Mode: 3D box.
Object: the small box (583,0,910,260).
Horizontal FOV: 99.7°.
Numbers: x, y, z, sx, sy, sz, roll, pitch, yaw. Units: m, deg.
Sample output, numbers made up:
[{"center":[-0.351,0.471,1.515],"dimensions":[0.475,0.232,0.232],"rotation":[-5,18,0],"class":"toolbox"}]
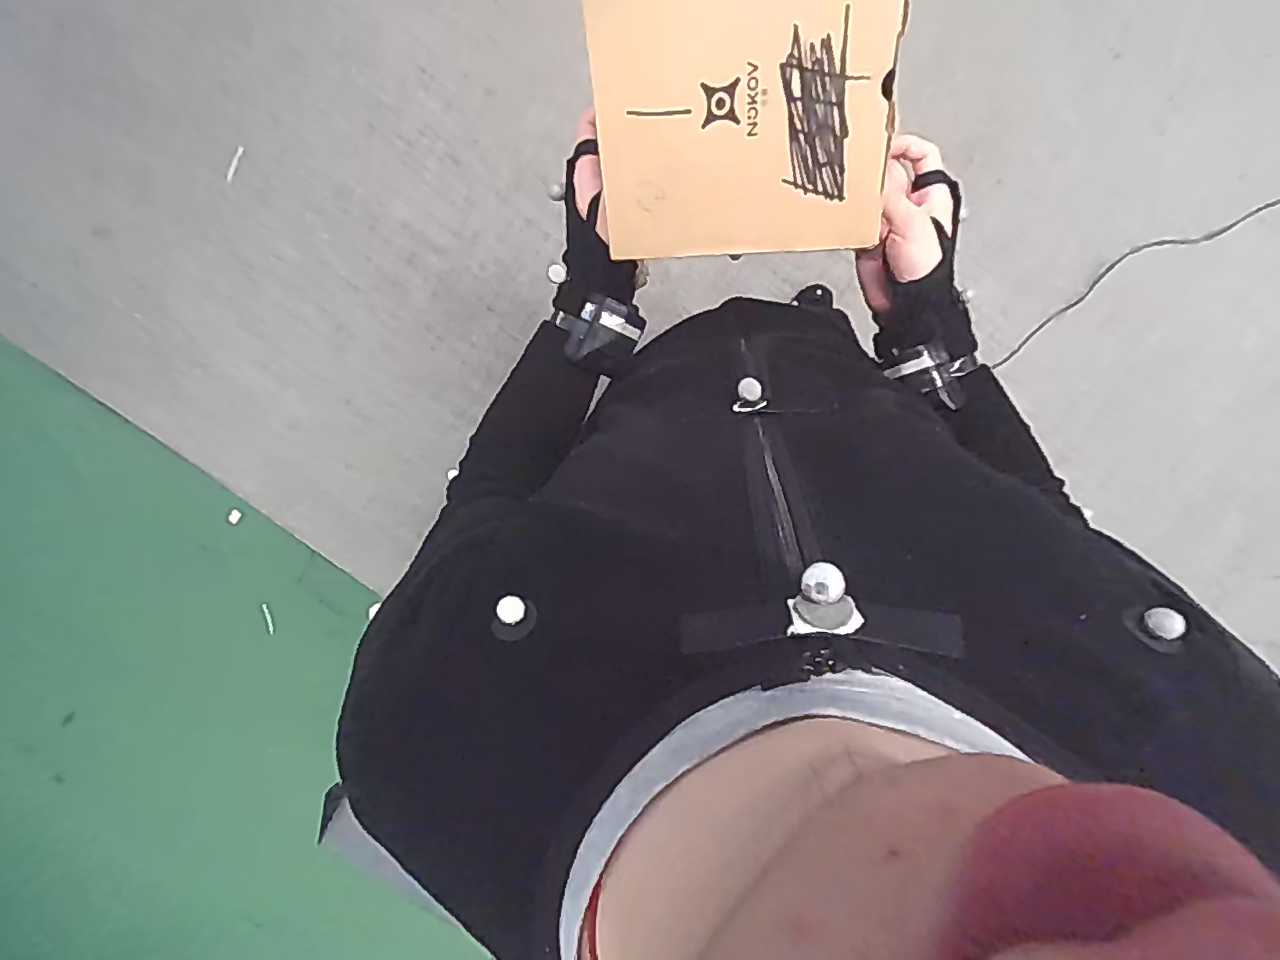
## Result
[{"center":[0.076,-0.260,0.379],"dimensions":[0.179,0.176,0.168],"rotation":[4,122,16],"class":"small box"}]
